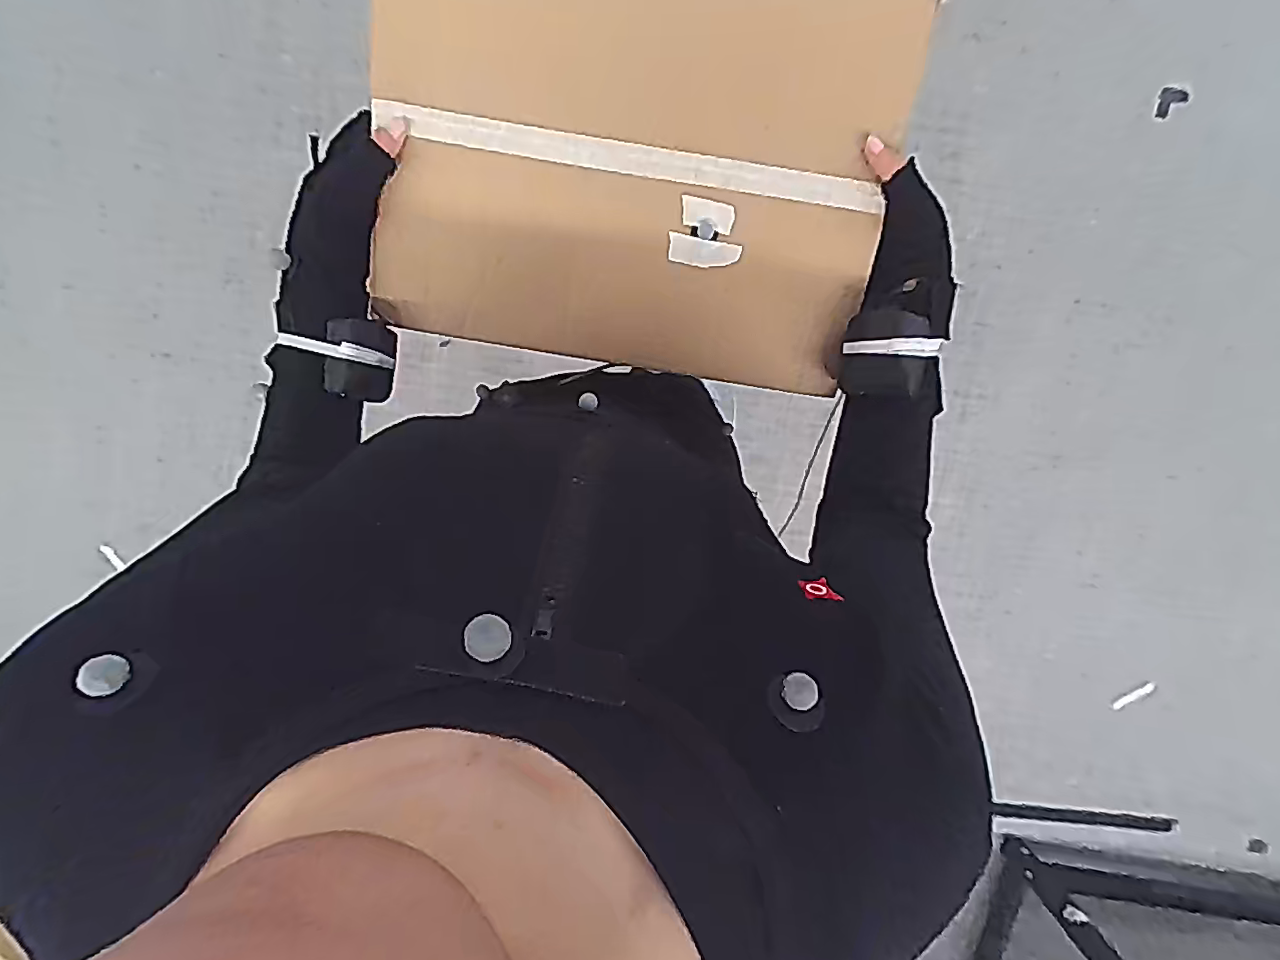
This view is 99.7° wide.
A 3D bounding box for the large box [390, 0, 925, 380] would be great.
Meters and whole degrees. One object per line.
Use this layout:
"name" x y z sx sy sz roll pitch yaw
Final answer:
"large box" -0.002 -0.303 0.581 0.408 0.320 0.320 9 107 -2
